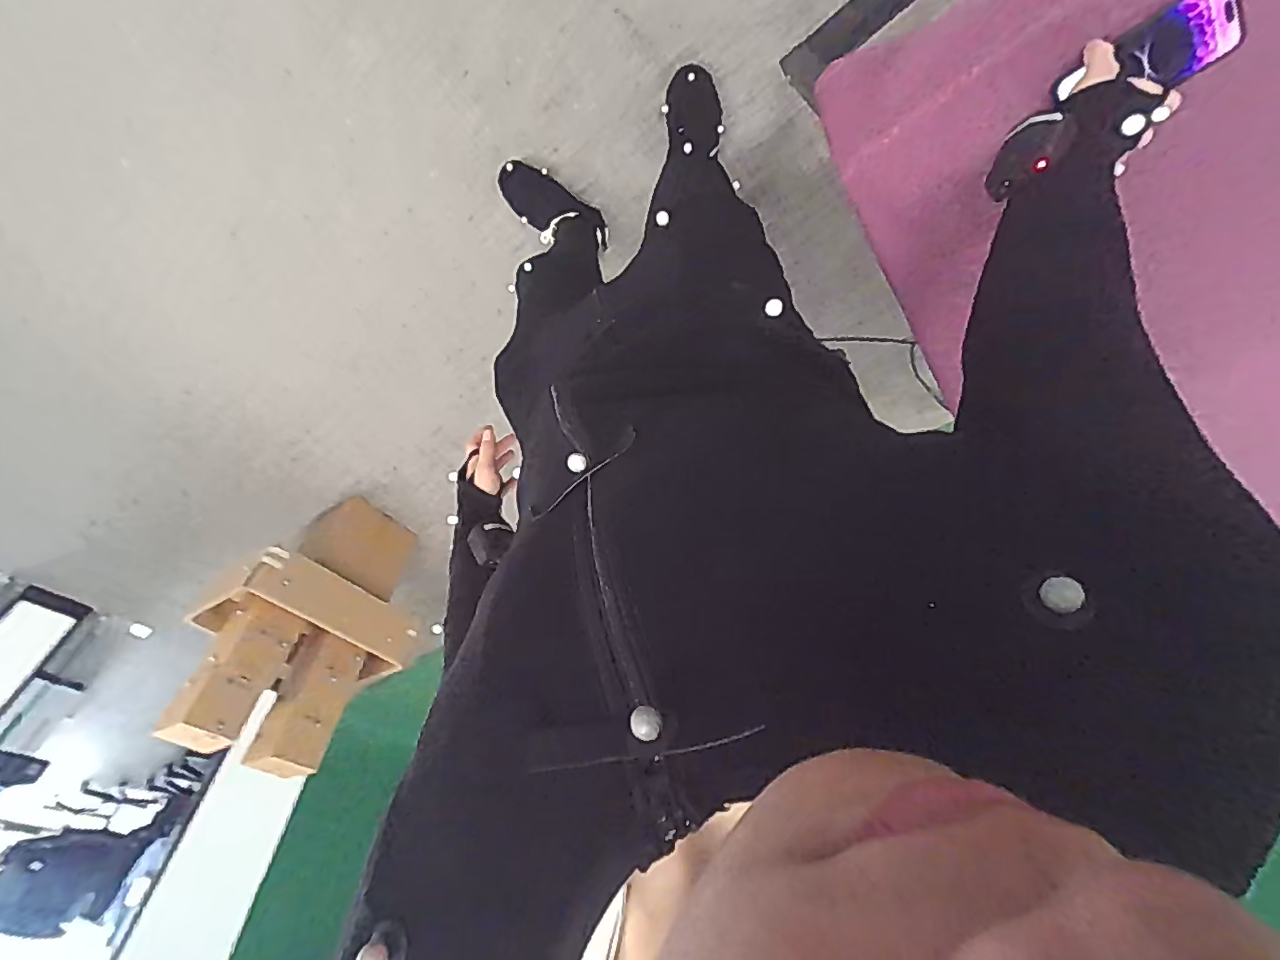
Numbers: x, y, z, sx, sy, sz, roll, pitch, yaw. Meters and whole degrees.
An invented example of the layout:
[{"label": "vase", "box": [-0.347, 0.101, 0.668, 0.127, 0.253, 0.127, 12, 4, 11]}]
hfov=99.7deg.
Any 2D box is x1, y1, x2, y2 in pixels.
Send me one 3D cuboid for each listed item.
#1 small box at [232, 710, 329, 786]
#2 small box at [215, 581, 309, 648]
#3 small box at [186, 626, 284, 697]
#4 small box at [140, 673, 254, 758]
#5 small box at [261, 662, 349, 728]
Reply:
[{"label": "small box", "box": [-1.157, 0.869, 1.755, 0.179, 0.176, 0.168, -23, 130, 23]}, {"label": "small box", "box": [-1.271, 0.471, 1.834, 0.179, 0.176, 0.168, -24, 129, 22]}, {"label": "small box", "box": [-1.277, 0.585, 1.716, 0.179, 0.176, 0.168, -23, 129, 23]}, {"label": "small box", "box": [-1.293, 0.694, 1.594, 0.179, 0.176, 0.168, -23, 129, 23]}, {"label": "small box", "box": [-1.151, 0.757, 1.872, 0.179, 0.176, 0.168, -24, 129, 24]}]
